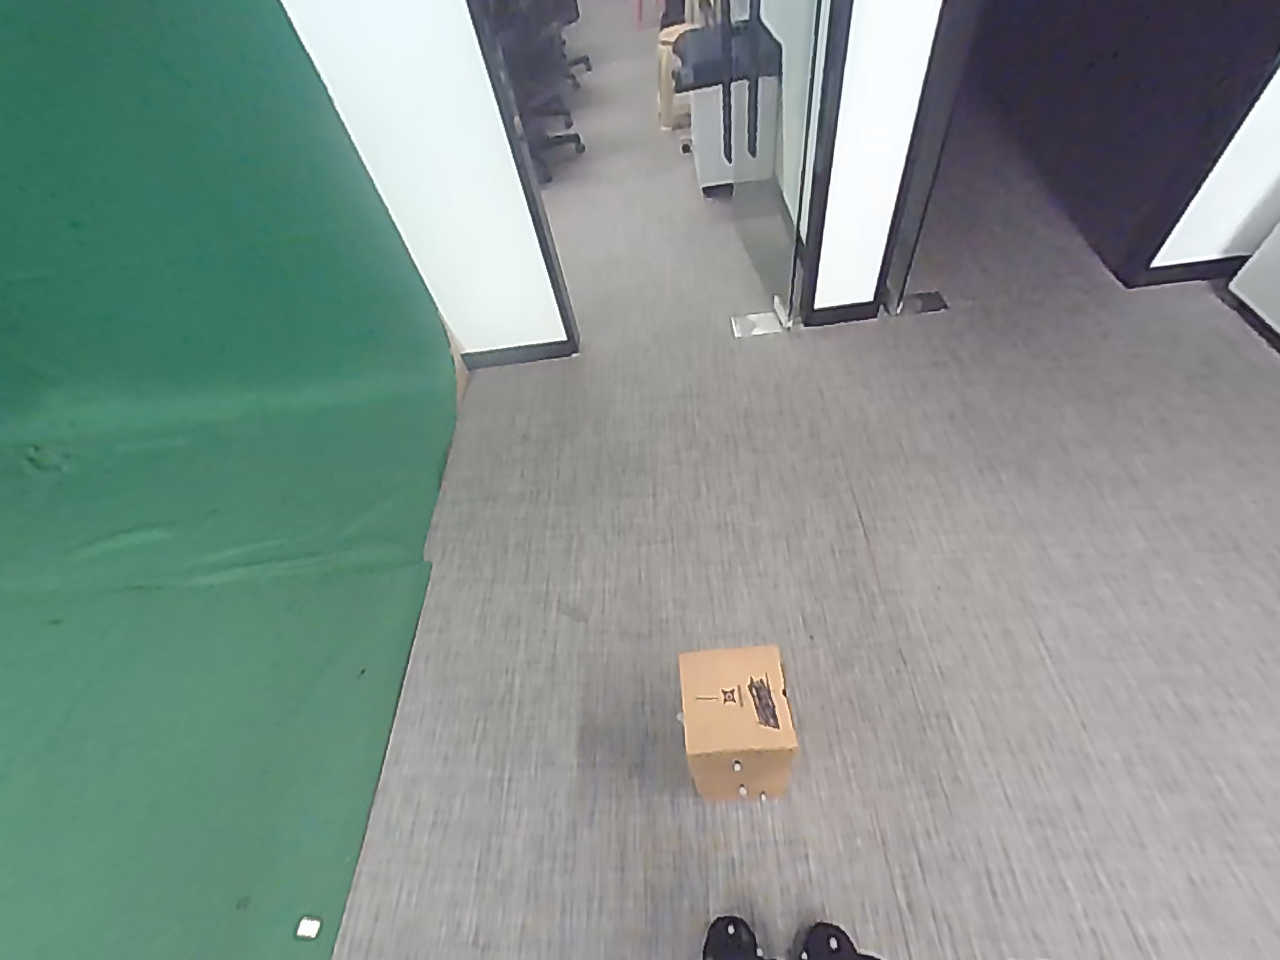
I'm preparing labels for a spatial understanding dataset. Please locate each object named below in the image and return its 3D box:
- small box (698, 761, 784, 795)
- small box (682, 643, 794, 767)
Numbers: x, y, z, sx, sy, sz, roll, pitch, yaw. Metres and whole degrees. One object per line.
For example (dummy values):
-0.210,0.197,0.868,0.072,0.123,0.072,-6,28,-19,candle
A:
0.218,0.600,1.216,0.179,0.176,0.168,-7,51,7,small box
0.166,0.400,0.958,0.179,0.176,0.168,-4,50,7,small box
